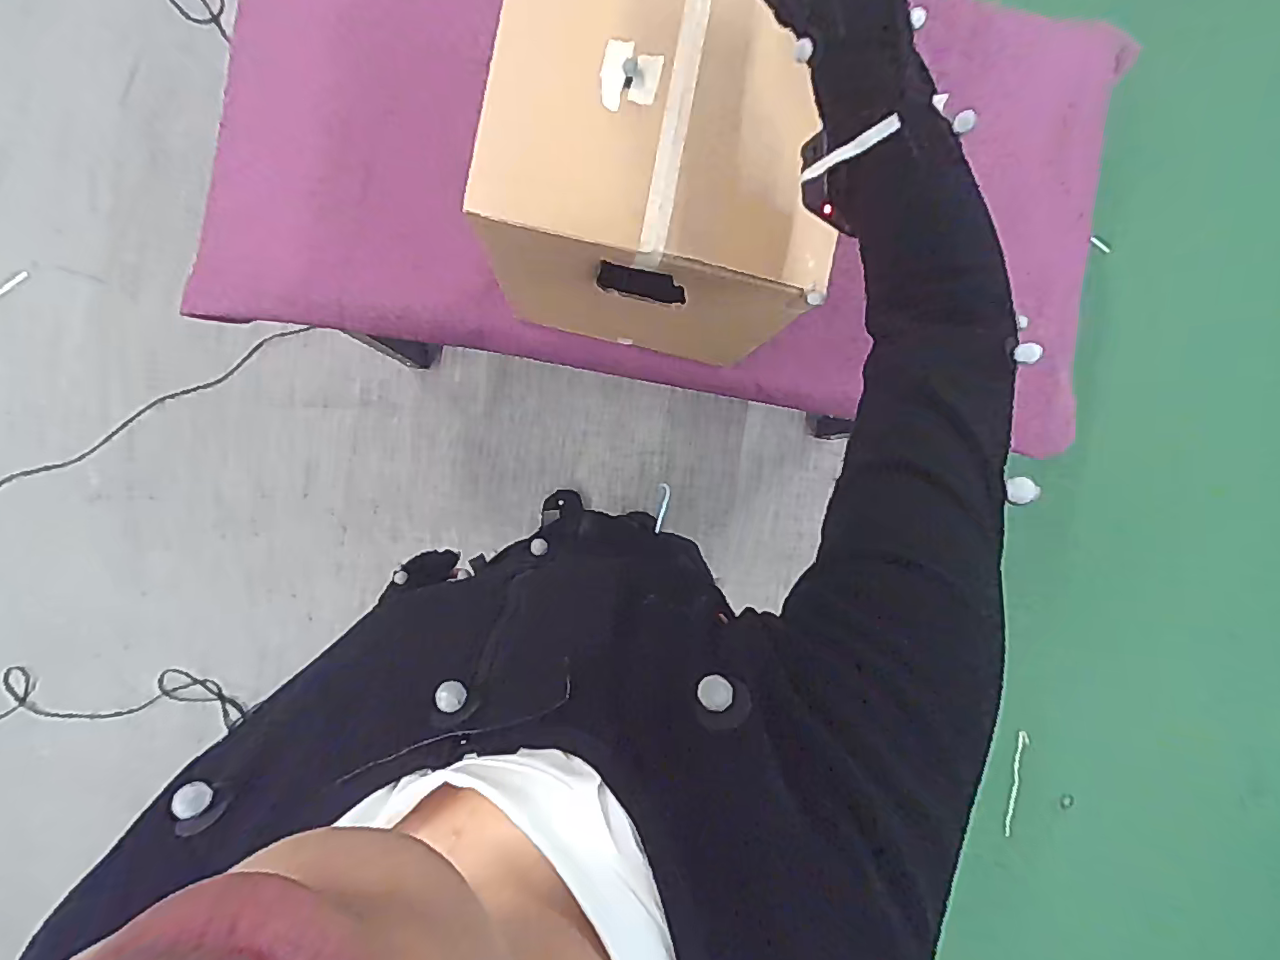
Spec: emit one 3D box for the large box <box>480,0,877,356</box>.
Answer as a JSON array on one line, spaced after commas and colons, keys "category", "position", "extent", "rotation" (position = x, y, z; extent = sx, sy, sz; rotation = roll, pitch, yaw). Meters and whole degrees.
[{"category": "large box", "position": [0.033, -0.395, 0.616], "extent": [0.320, 0.320, 0.408], "rotation": [12, 91, -6]}]
